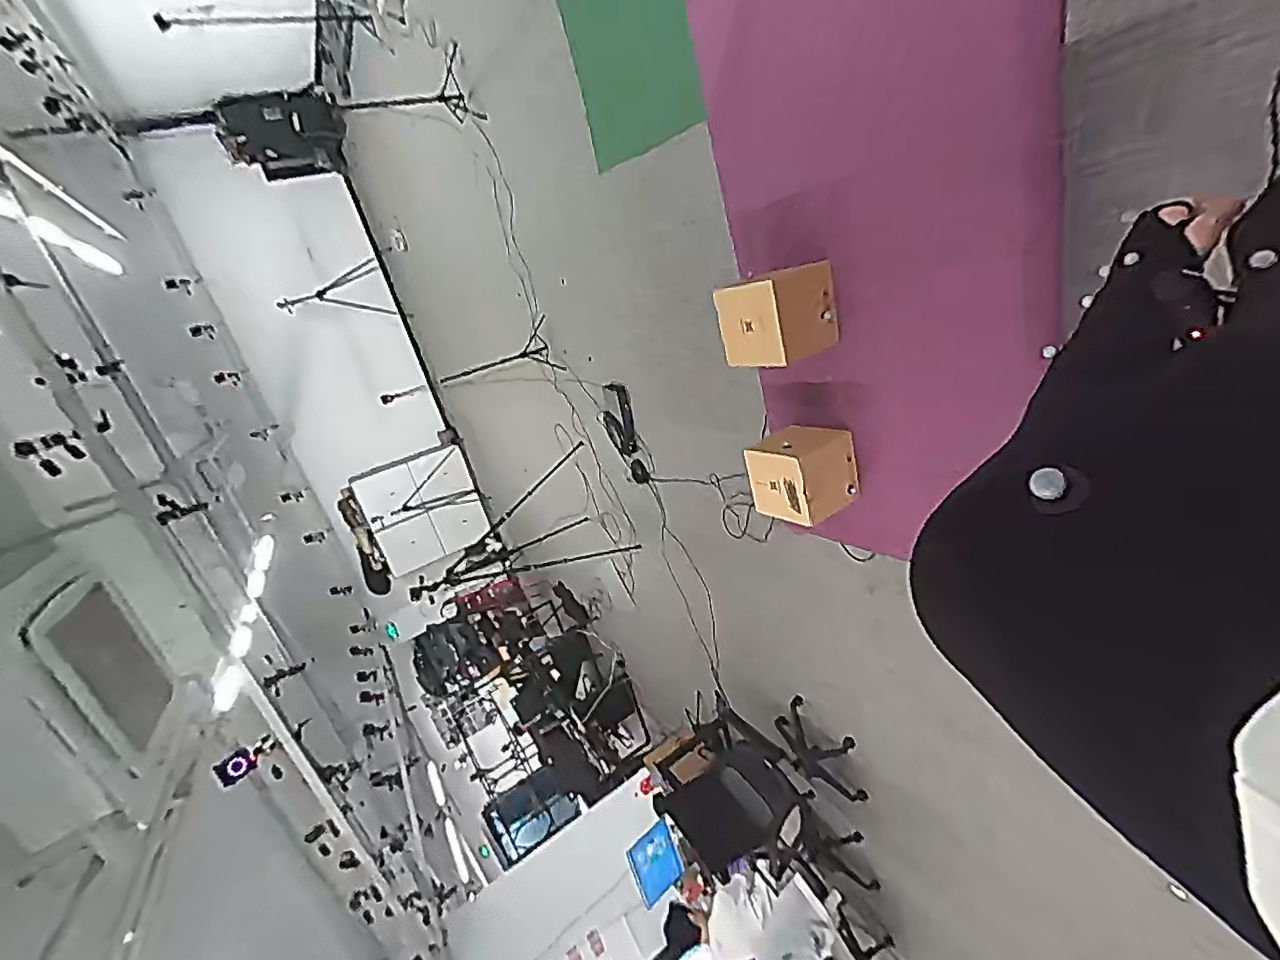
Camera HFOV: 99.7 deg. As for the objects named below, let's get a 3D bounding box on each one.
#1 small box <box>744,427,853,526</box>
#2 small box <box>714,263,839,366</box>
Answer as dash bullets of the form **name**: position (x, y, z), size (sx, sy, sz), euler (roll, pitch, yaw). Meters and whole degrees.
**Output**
- **small box**: position (0.373, -0.017, 1.252), size (0.179, 0.176, 0.168), euler (17, 127, 58)
- **small box**: position (0.286, -0.343, 1.131), size (0.179, 0.176, 0.168), euler (18, 129, 56)
